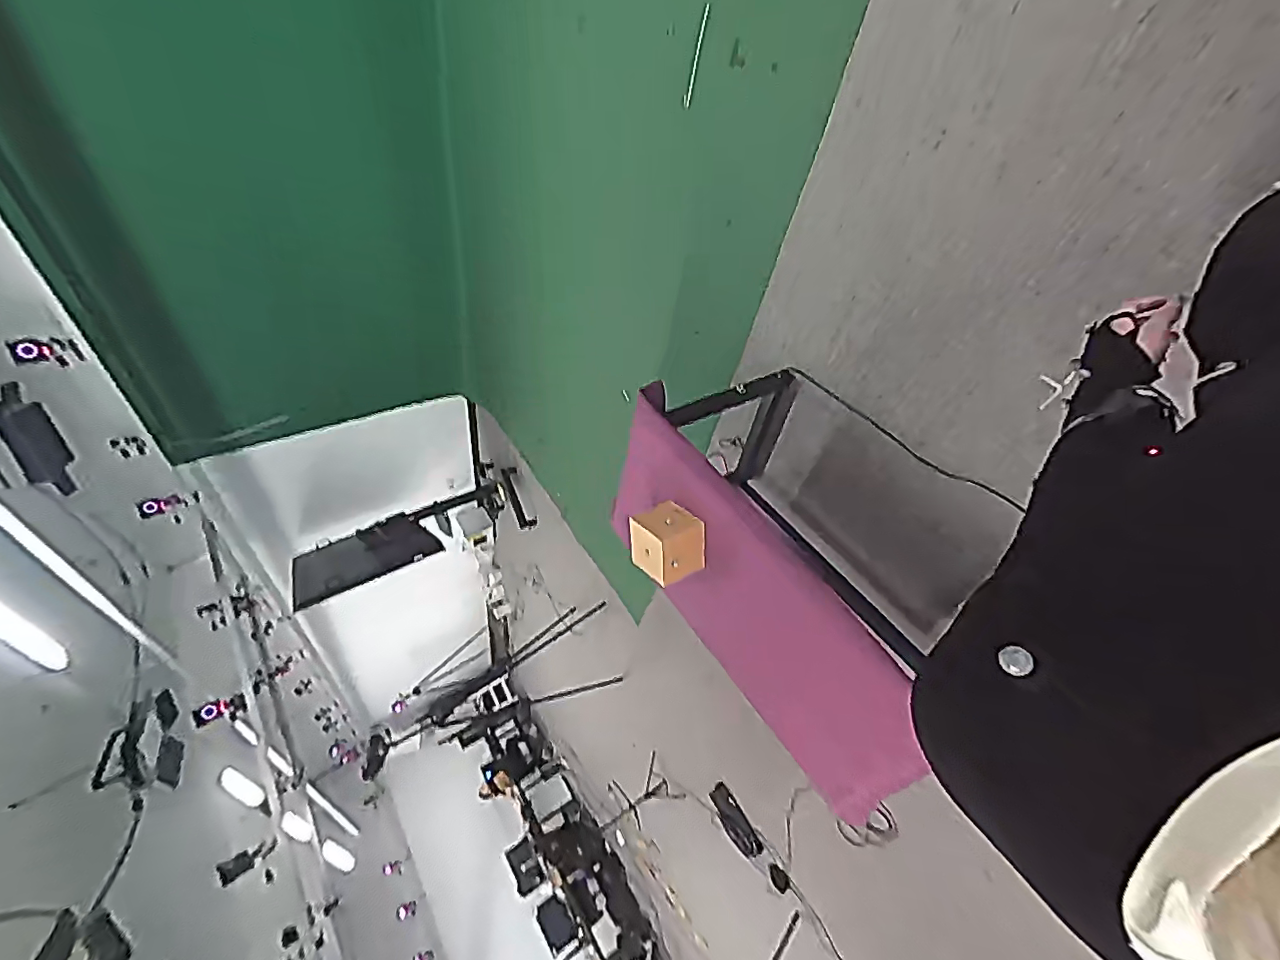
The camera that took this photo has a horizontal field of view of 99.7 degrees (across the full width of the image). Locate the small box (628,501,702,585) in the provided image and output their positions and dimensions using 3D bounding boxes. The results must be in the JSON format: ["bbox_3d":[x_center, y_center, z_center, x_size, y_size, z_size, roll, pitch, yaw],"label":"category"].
[{"bbox_3d":[0.083,0.190,1.695,0.168,0.176,0.179,32,136,45],"label":"small box"}]
